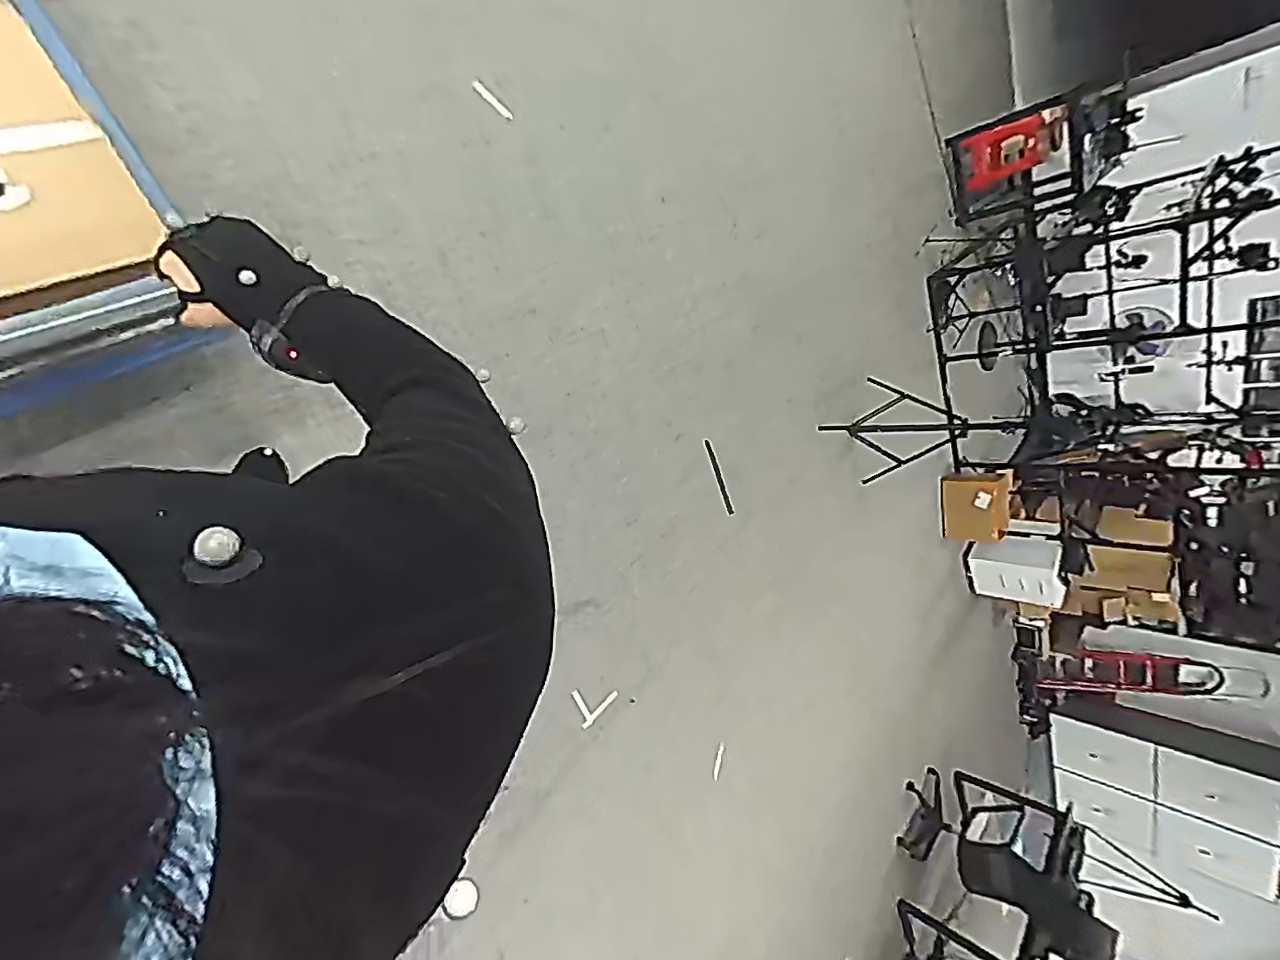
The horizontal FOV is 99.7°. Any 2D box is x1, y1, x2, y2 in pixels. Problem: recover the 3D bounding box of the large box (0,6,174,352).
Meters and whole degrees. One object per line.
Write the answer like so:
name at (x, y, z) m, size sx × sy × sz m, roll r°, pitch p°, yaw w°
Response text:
large box at (-0.935, -0.340, 0.698) m, size 0.408 × 0.320 × 0.320 m, roll -40°, pitch 119°, yaw -35°
